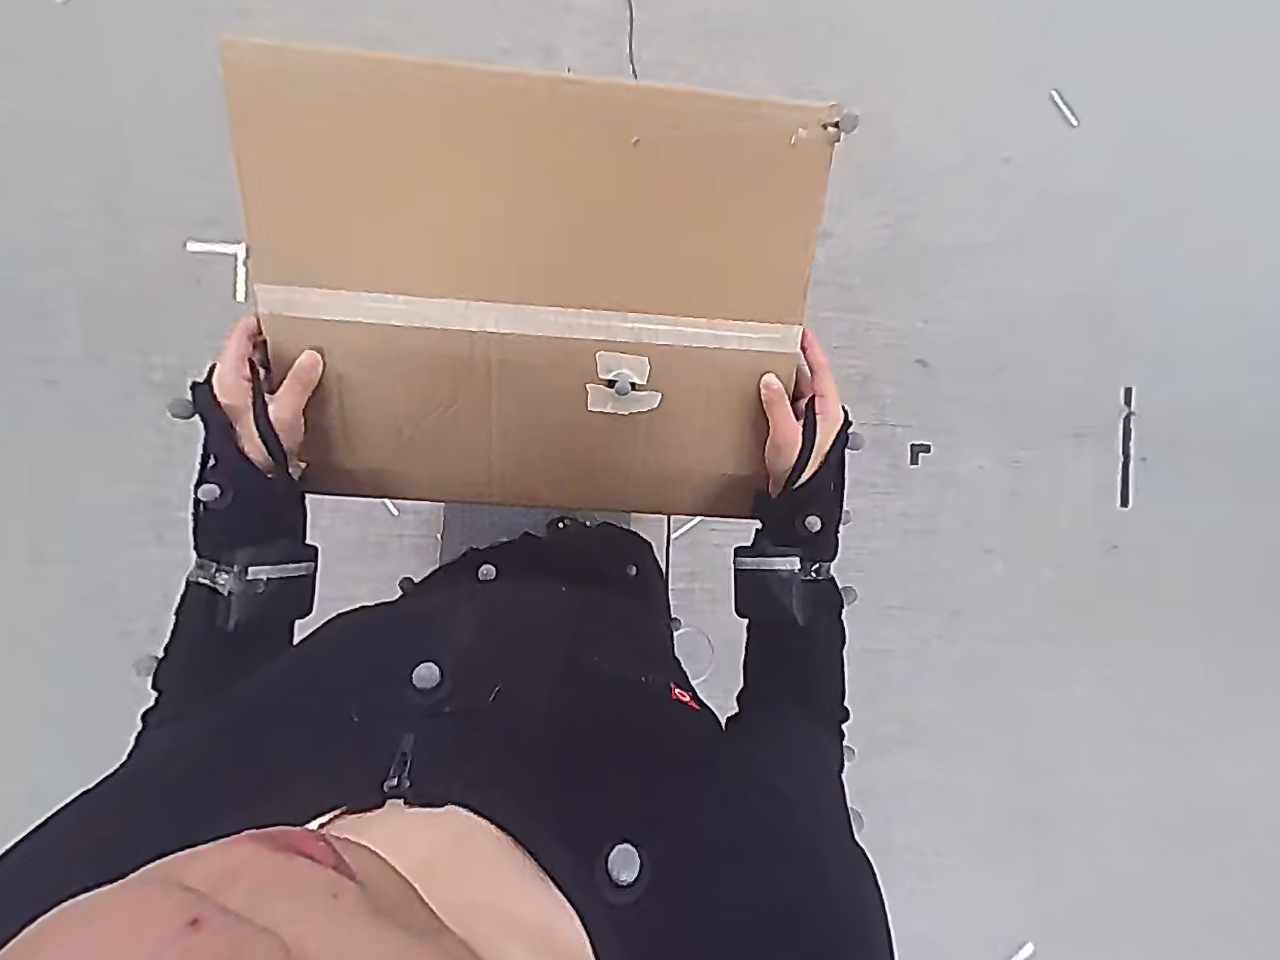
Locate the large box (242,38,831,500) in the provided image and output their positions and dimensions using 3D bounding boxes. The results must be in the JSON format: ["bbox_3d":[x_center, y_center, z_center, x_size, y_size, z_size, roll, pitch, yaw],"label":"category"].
[{"bbox_3d":[-0.082,-0.186,0.553,0.408,0.320,0.320,3,112,-4],"label":"large box"}]
